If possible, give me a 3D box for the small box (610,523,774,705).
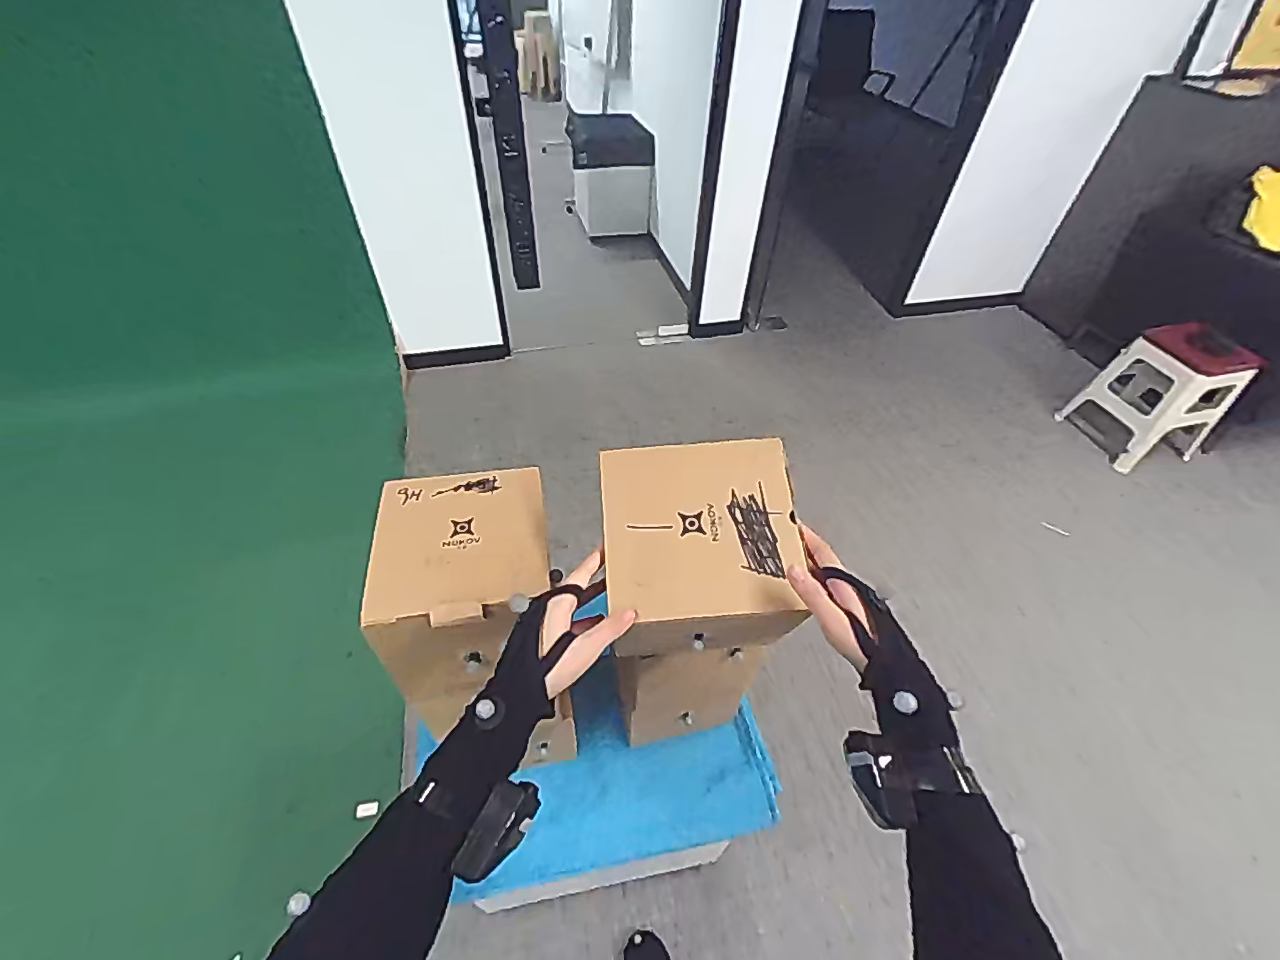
[{"bbox_3d":[0.057,0.184,0.744,0.179,0.176,0.168,-9,47,-11],"label":"small box"}]

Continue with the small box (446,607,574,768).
[{"bbox_3d":[-0.192,0.321,0.829,0.168,0.176,0.179,-5,46,-10],"label":"small box"}]

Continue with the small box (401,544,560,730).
[{"bbox_3d":[-0.196,0.210,0.711,0.168,0.176,0.179,-5,46,-9],"label":"small box"}]
